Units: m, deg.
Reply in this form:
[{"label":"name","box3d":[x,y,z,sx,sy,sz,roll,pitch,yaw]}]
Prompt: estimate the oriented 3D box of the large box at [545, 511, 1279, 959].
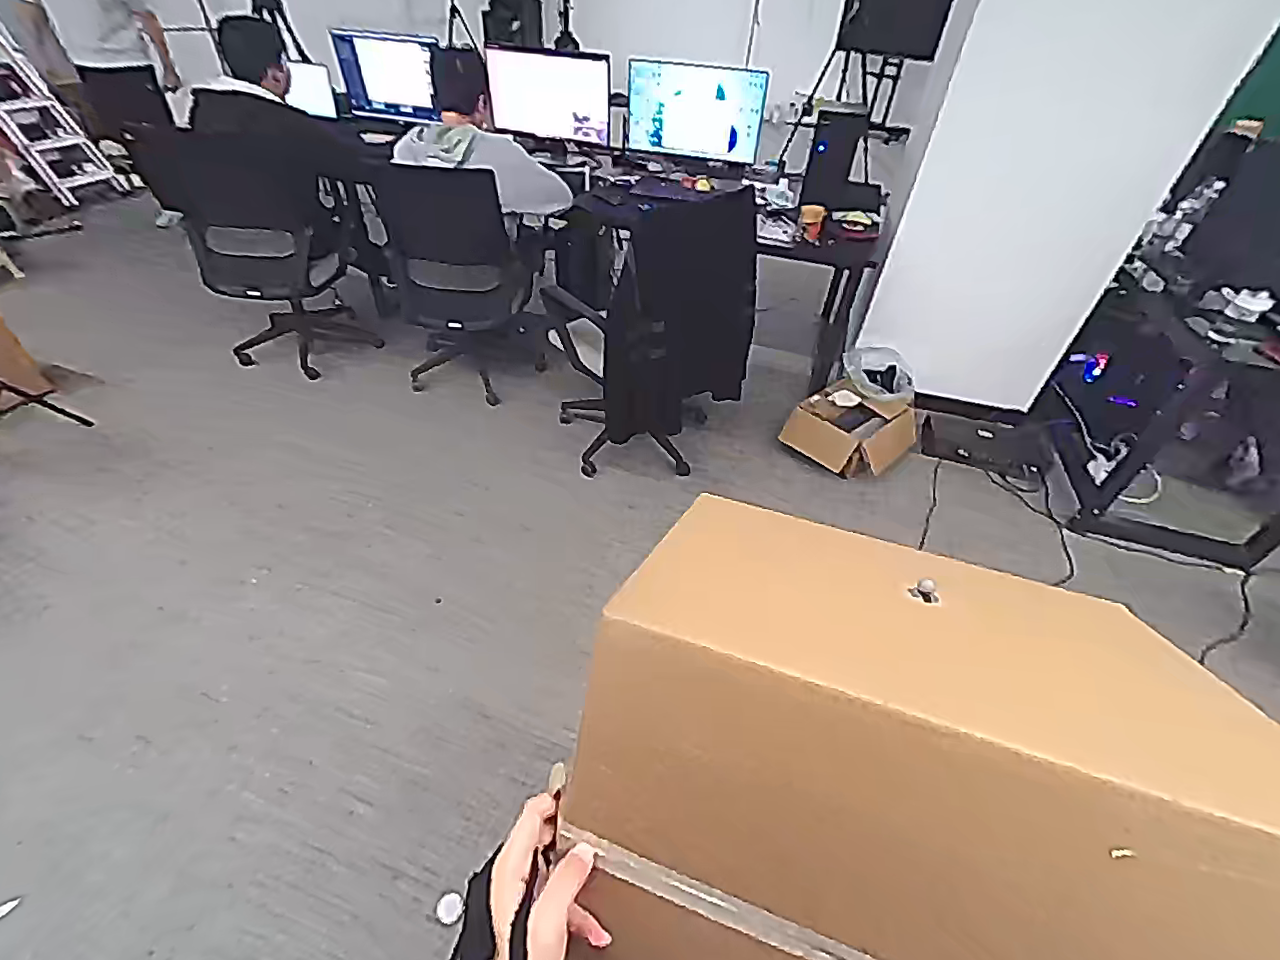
[{"label":"large box","box3d":[0.177,0.245,0.449,0.408,0.320,0.320,14,16,13]}]
